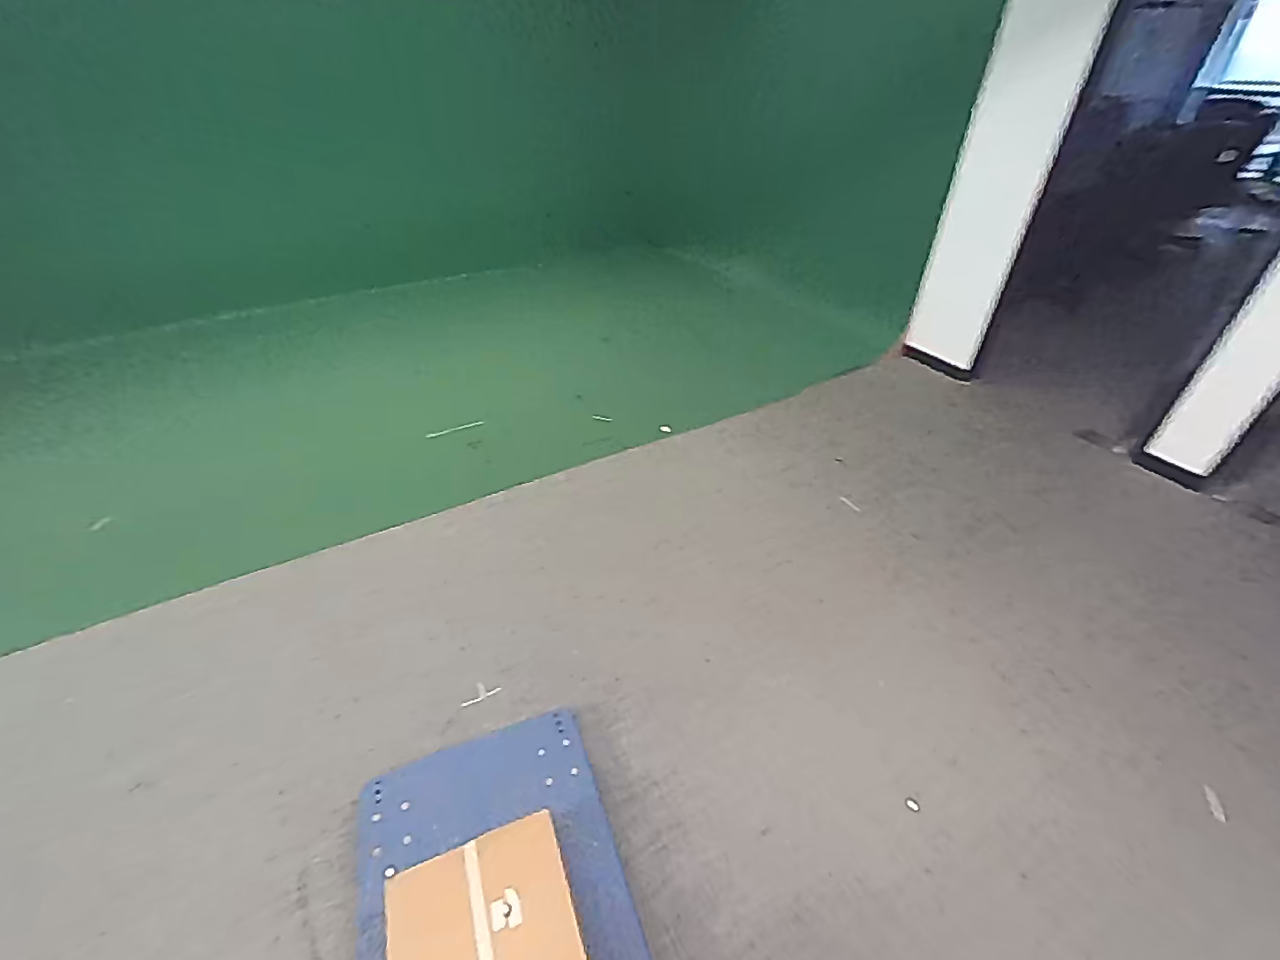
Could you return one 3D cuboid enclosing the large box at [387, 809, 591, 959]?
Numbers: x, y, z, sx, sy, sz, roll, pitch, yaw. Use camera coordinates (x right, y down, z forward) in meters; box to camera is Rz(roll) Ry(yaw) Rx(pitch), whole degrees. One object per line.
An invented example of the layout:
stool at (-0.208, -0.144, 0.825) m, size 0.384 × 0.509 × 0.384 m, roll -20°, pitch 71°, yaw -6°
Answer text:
large box at (-0.251, 0.934, 1.003) m, size 0.320 × 0.320 × 0.408 m, roll -15°, pitch 40°, yaw -17°
